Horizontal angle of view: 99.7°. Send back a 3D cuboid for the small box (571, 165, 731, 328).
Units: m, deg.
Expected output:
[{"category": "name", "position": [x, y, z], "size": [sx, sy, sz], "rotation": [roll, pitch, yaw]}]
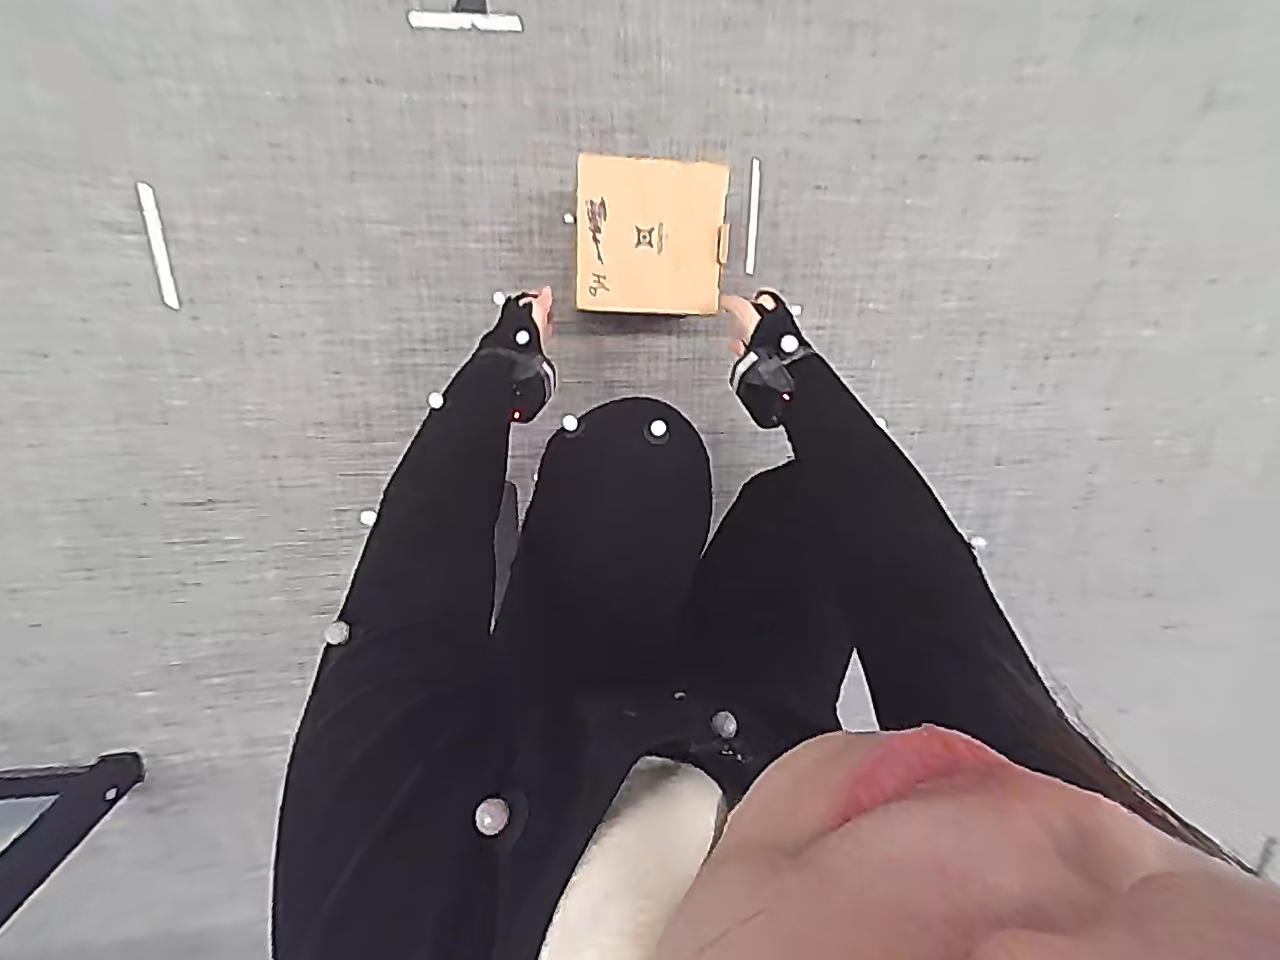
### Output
[{"category": "small box", "position": [0.003, -0.290, 0.704], "size": [0.179, 0.176, 0.168], "rotation": [1, 106, -9]}]
